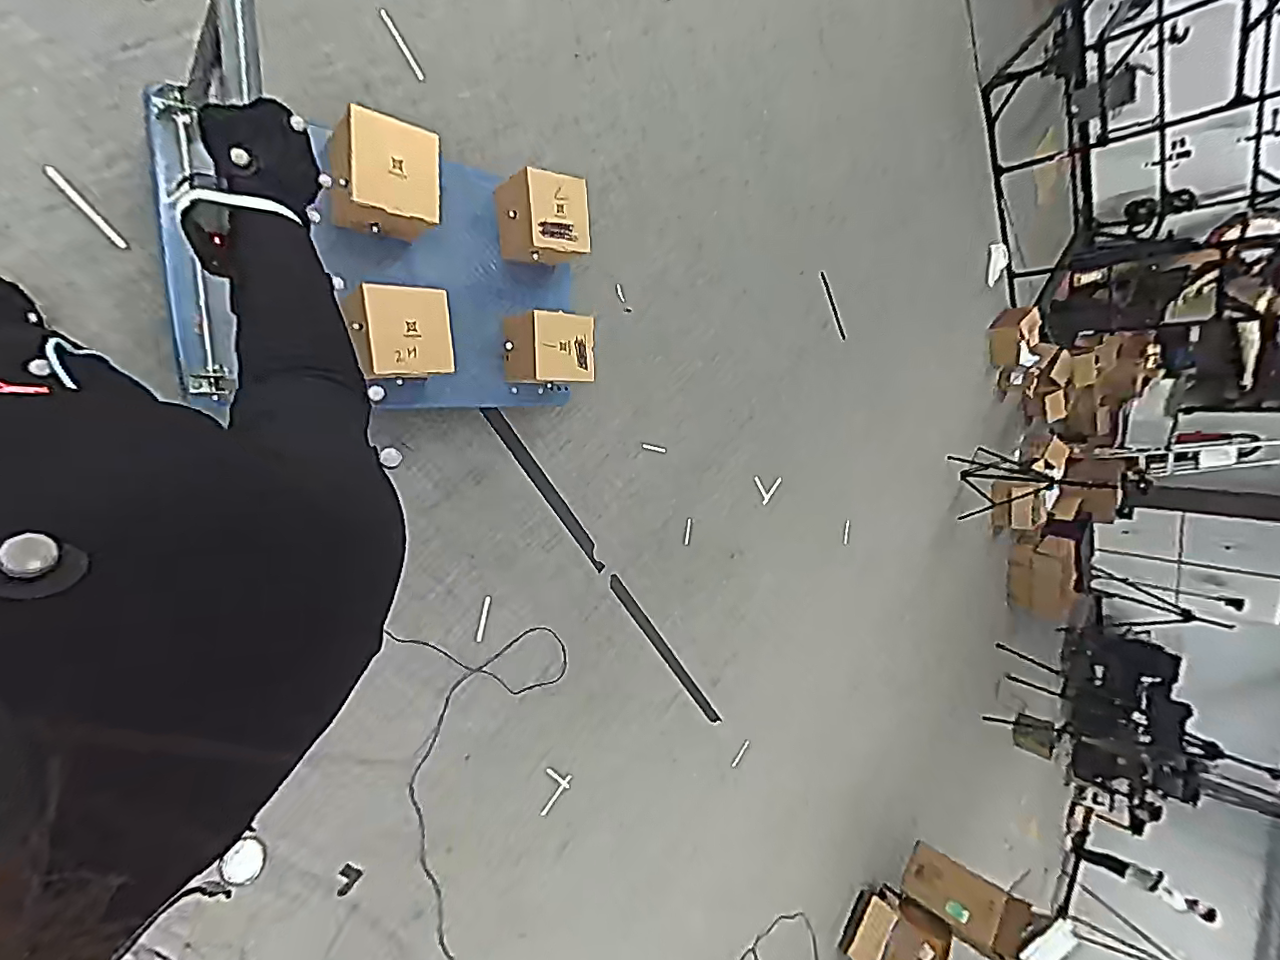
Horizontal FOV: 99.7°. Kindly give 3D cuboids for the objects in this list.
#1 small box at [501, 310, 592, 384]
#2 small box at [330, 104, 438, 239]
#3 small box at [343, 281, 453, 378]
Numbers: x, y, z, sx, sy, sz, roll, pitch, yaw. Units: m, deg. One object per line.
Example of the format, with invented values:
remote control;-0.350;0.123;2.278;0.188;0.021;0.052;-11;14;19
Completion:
small box;-0.242;-0.339;1.406;0.179;0.176;0.168;-7;100;-40
small box;-0.530;-0.621;1.116;0.168;0.176;0.179;-4;100;-42
small box;-0.522;-0.314;1.162;0.168;0.176;0.179;-11;102;-40
